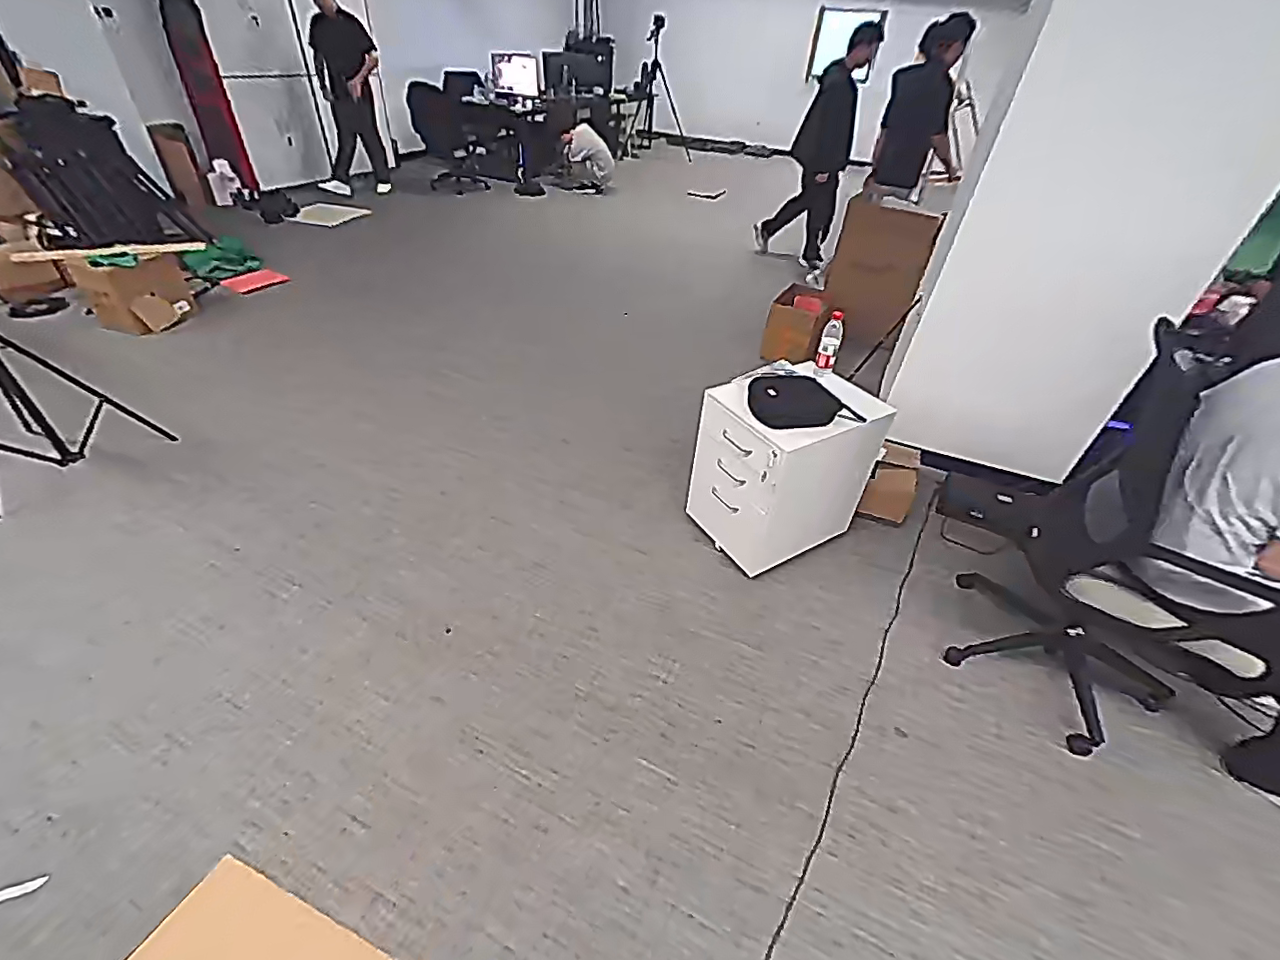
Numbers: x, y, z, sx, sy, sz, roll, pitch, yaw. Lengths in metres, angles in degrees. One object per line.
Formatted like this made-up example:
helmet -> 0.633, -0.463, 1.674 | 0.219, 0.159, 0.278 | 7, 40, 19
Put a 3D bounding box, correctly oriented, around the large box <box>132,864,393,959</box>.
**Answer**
large box -> -0.448, 0.760, 0.646 | 0.320, 0.408, 0.320 | 7, 34, 25
